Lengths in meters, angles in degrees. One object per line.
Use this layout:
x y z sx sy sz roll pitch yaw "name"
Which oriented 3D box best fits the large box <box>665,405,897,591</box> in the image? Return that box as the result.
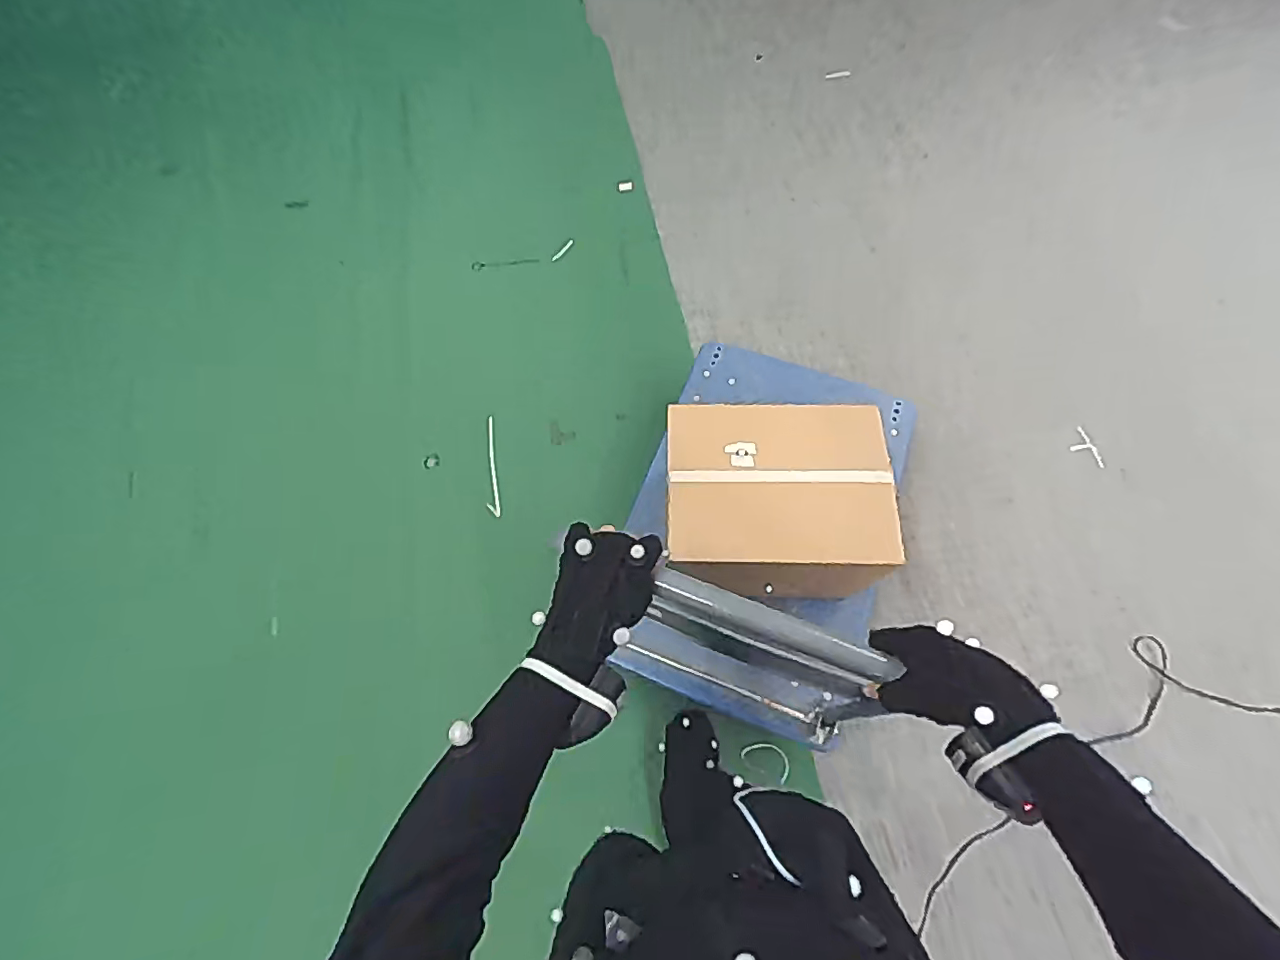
0.258 0.055 1.134 0.408 0.320 0.320 0 66 4 "large box"
